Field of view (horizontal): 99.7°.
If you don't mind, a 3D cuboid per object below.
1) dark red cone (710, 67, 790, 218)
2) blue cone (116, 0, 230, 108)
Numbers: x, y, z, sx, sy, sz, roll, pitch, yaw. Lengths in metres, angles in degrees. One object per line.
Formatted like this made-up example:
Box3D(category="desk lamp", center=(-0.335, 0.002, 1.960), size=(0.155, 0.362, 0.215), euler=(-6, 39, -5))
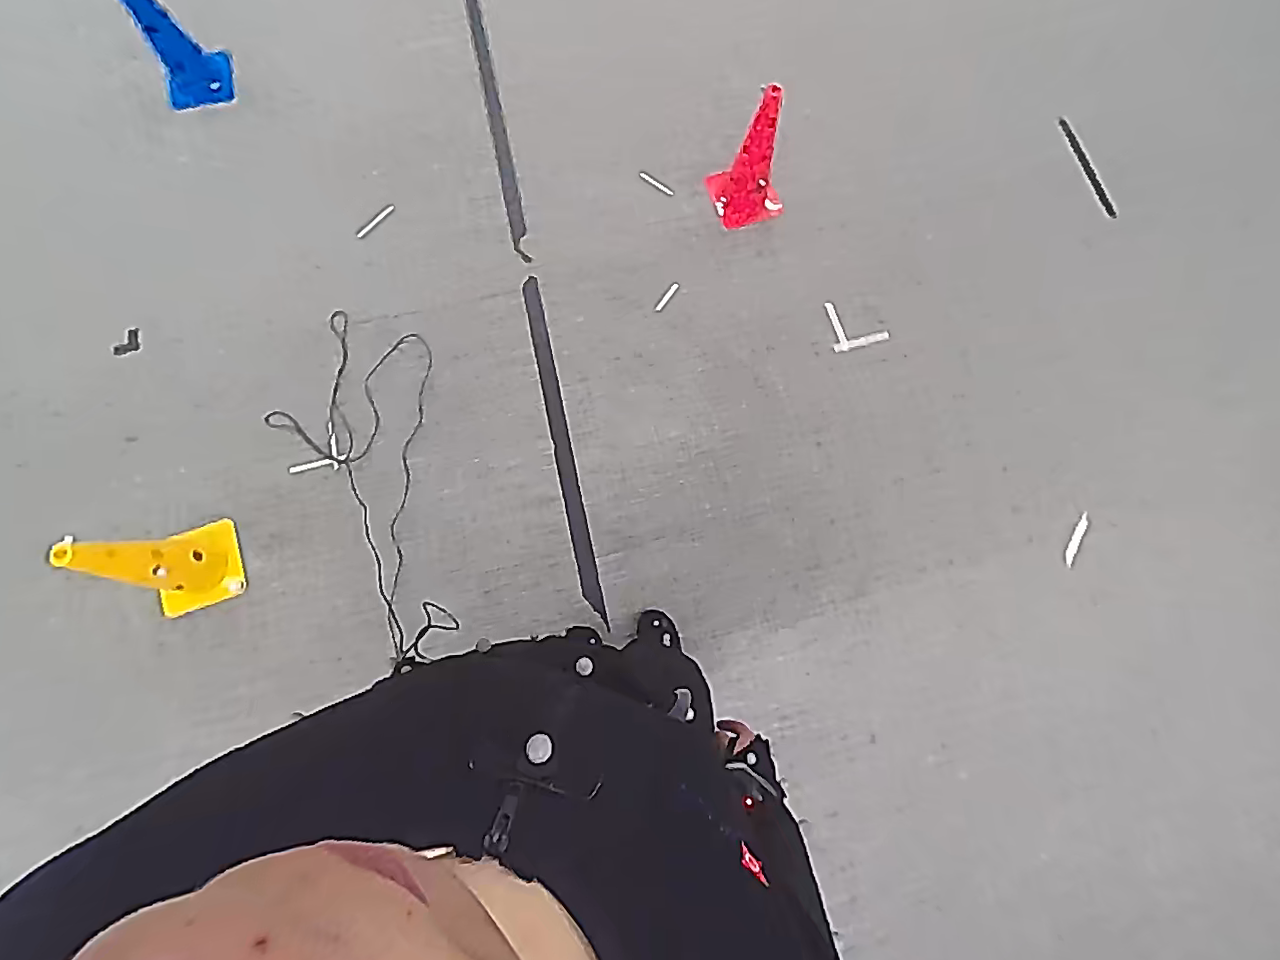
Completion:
Box3D(category="dark red cone", center=(0.332, -0.931, 1.476), size=(0.201, 0.394, 0.202), euler=(-20, 78, -5))
Box3D(category="blue cone", center=(-1.388, -1.300, 1.543), size=(0.192, 0.380, 0.193), euler=(-12, 77, -3))
